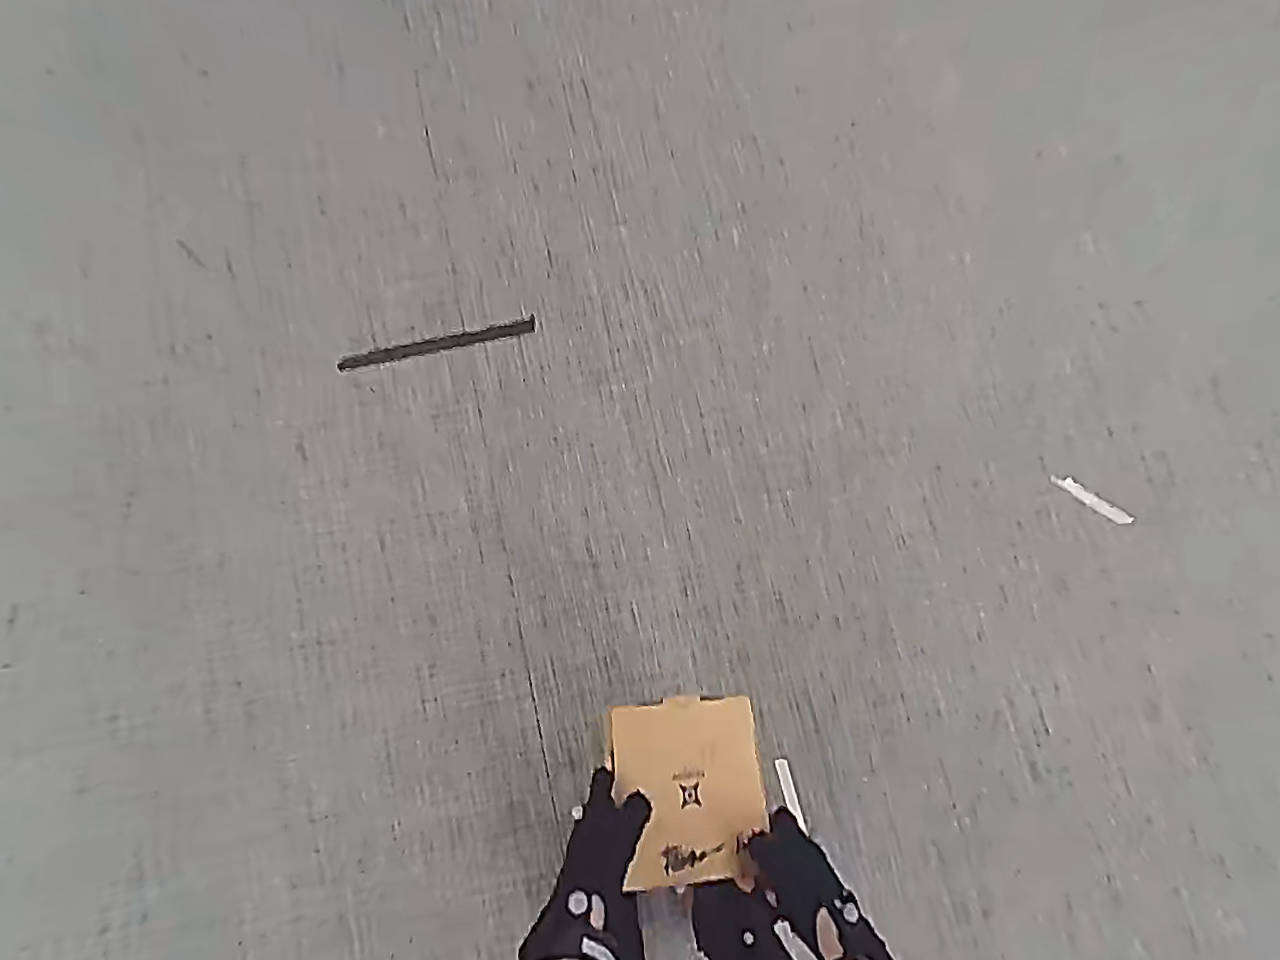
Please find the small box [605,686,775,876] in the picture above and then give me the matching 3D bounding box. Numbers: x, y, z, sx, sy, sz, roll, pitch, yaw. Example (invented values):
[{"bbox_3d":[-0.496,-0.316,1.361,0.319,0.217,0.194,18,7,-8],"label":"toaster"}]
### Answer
[{"bbox_3d":[0.047,0.358,0.666,0.168,0.176,0.179,-1,66,-8],"label":"small box"}]
